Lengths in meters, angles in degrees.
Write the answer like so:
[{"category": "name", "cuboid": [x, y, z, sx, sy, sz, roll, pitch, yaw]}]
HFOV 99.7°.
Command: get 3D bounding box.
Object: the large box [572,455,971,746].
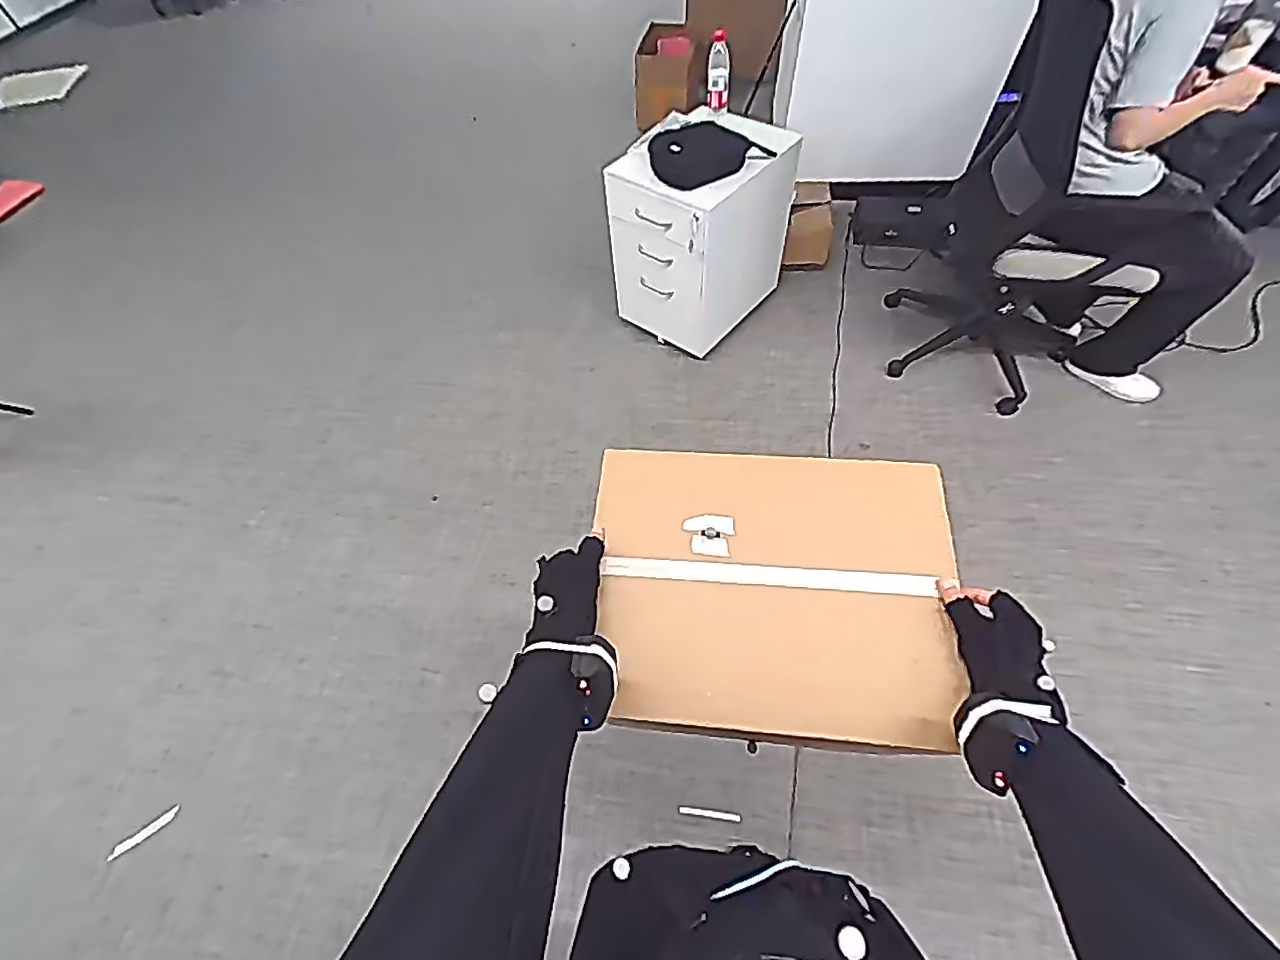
[{"category": "large box", "cuboid": [0.154, 0.177, 0.742, 0.408, 0.320, 0.320, 3, 63, 8]}]
